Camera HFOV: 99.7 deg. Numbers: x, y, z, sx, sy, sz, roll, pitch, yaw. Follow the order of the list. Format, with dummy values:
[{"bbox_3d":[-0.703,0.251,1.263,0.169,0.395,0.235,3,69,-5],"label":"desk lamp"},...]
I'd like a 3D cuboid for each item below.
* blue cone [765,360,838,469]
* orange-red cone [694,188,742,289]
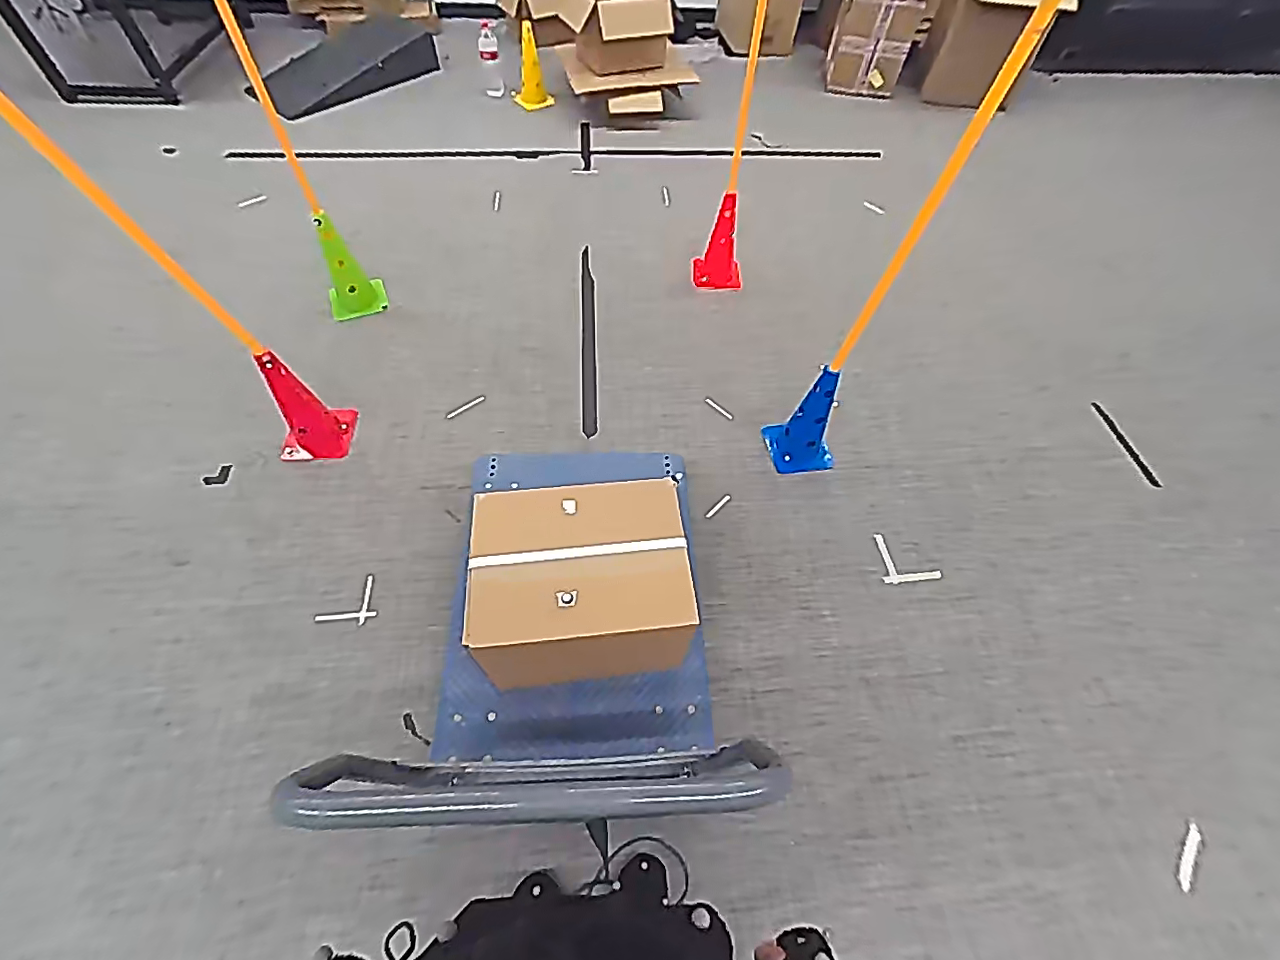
[{"bbox_3d":[0.530,-0.210,1.656,0.193,0.380,0.192,-6,56,-7],"label":"blue cone"},{"bbox_3d":[0.336,-0.964,2.129,0.199,0.360,0.198,4,57,-2],"label":"orange-red cone"}]
